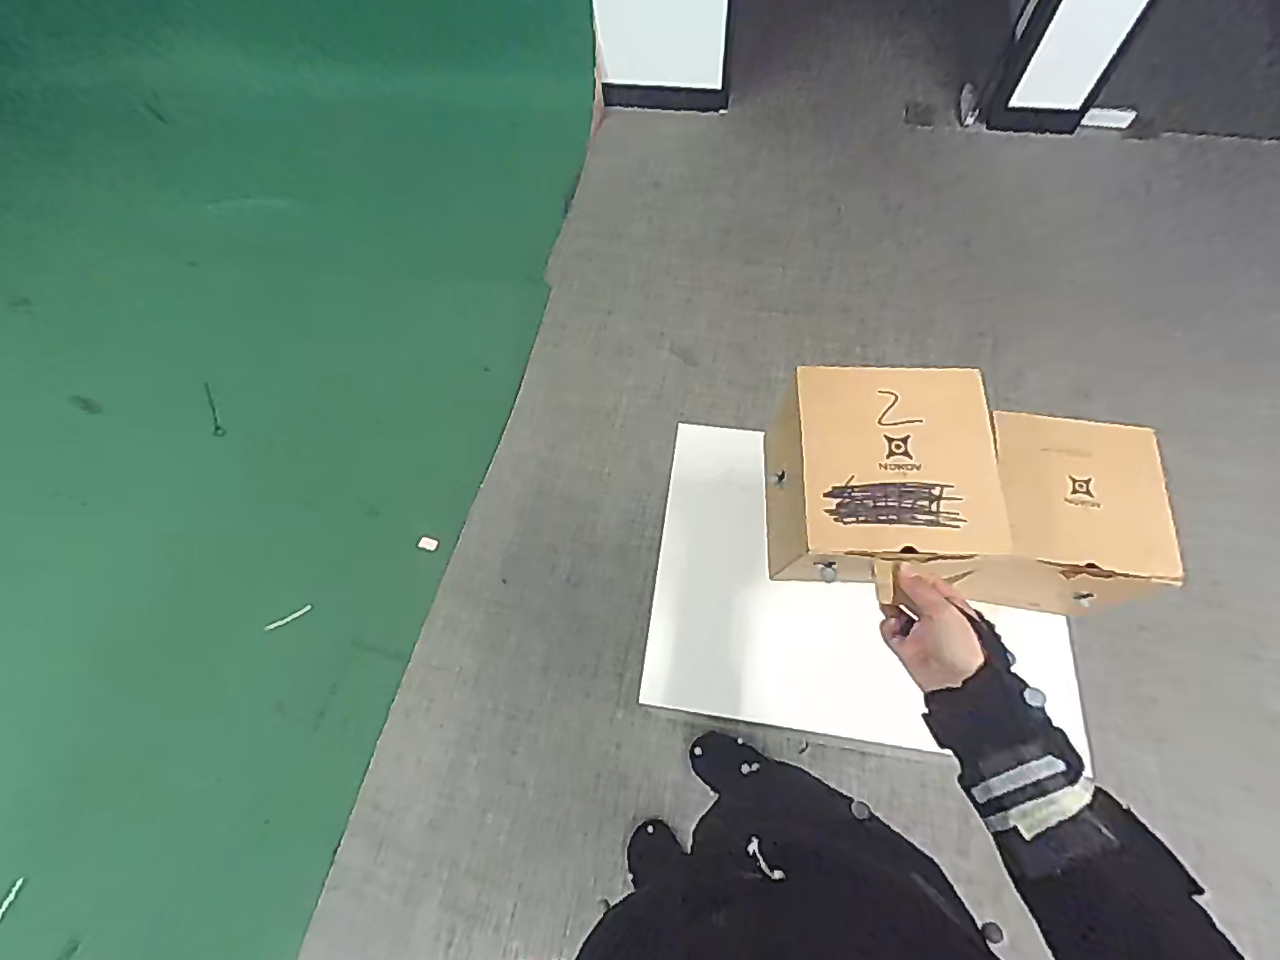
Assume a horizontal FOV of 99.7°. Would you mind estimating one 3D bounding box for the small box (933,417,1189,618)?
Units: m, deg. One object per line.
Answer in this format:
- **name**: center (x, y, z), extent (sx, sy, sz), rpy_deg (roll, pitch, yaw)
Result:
- **small box**: center (0.462, 0.051, 0.630), extent (0.168, 0.176, 0.179), rpy_deg (8, 65, 7)
